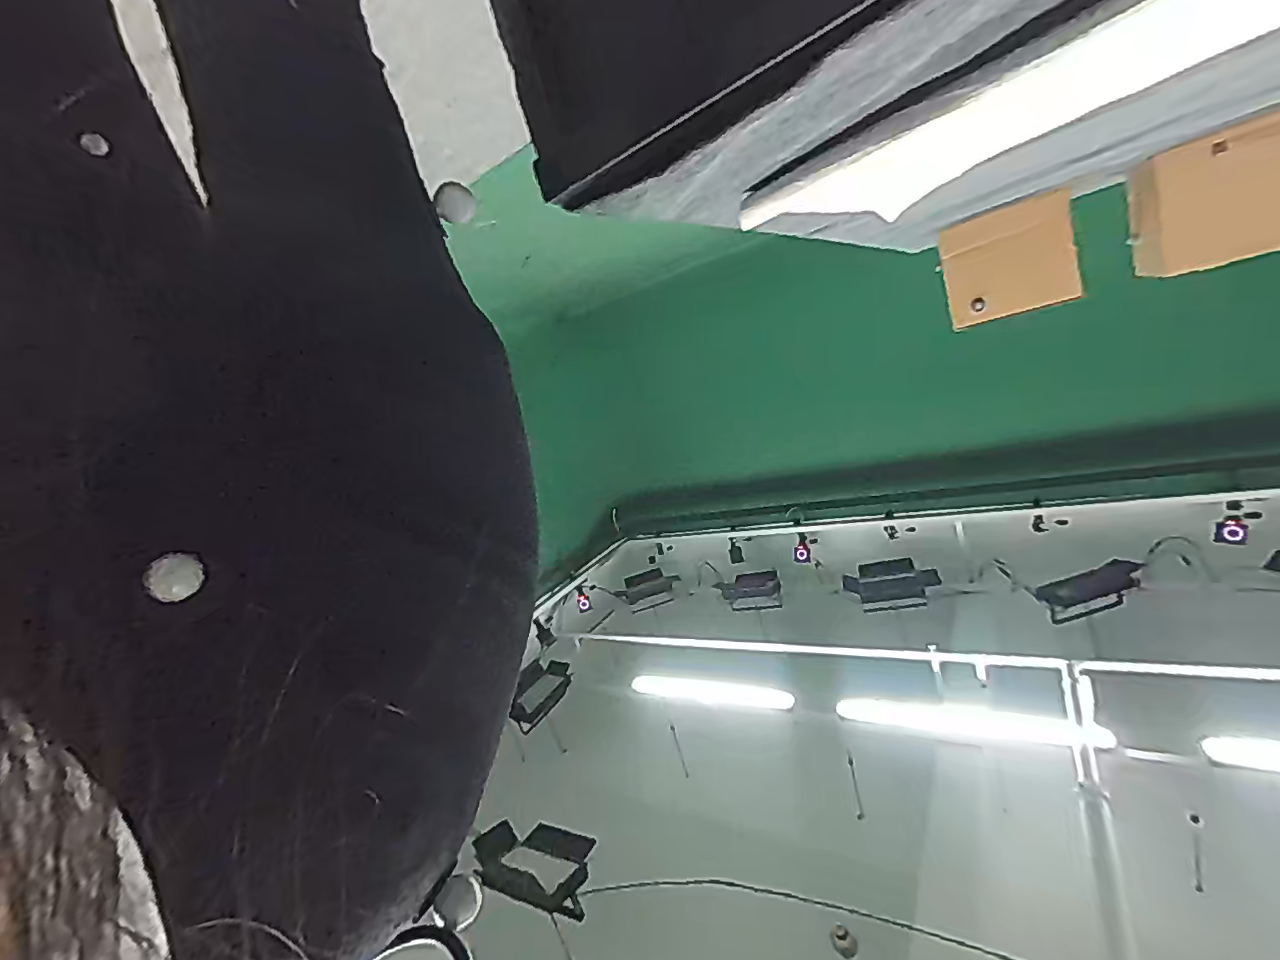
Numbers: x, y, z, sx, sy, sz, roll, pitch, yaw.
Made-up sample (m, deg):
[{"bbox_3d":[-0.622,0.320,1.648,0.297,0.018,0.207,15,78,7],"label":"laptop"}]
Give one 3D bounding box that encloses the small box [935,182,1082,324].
[{"bbox_3d":[0.616,-0.381,0.919,0.179,0.176,0.168,-10,-167,32],"label":"small box"}]
